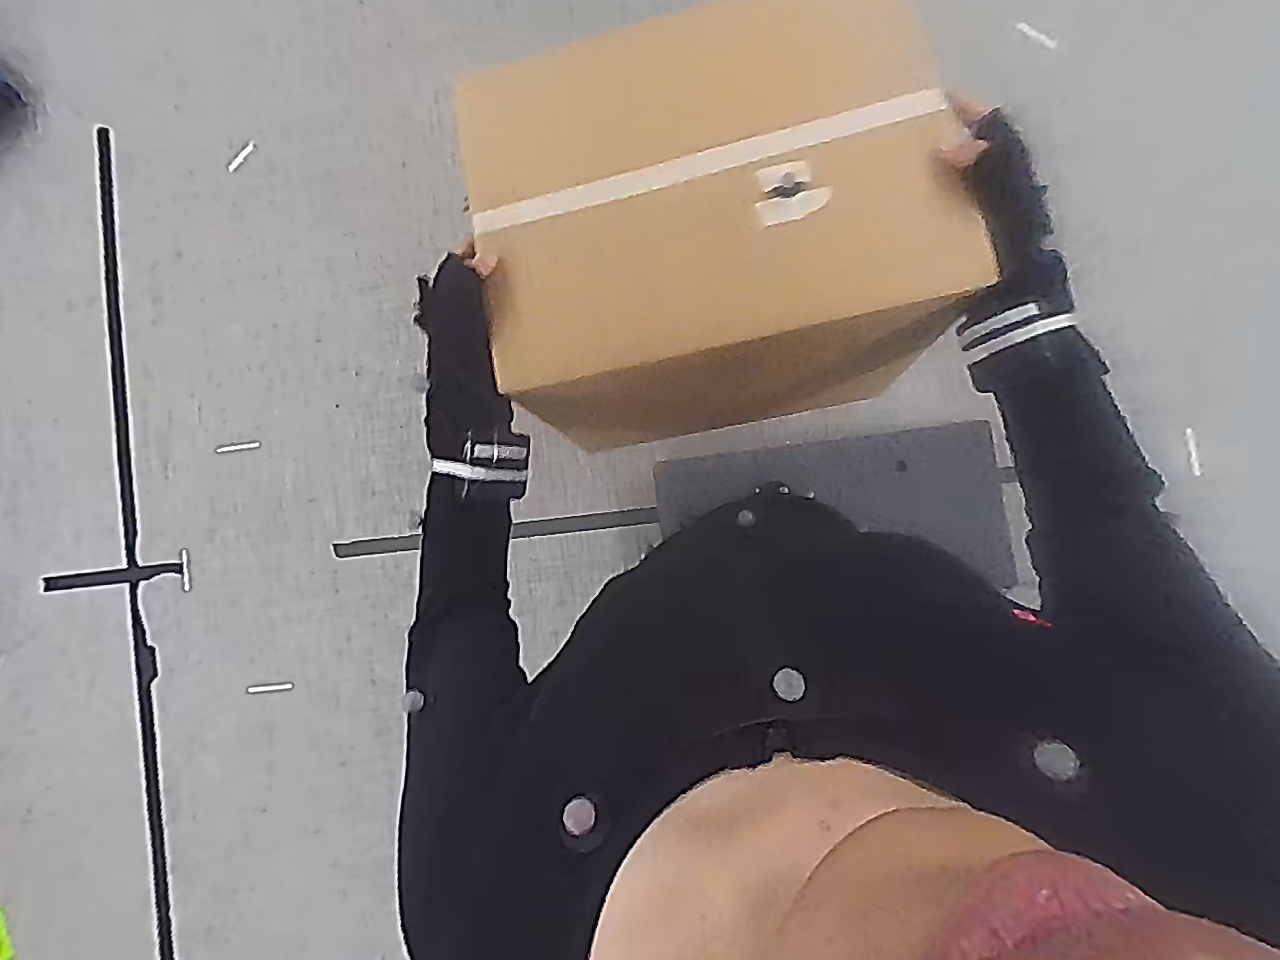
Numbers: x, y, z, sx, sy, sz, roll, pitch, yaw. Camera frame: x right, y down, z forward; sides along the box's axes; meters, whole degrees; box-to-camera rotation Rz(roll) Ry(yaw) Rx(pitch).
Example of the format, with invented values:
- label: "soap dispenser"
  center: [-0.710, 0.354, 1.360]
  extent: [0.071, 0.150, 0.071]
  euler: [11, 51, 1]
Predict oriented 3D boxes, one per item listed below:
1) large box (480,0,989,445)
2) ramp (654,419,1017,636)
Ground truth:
- label: "large box"
  center: [0.081, -0.251, 0.620]
  extent: [0.408, 0.320, 0.320]
  euler: [-10, 81, 7]
- label: "ramp"
  center: [0.559, 0.121, 1.533]
  extent: [0.991, 0.206, 0.509]
  euler: [-10, 85, 5]
